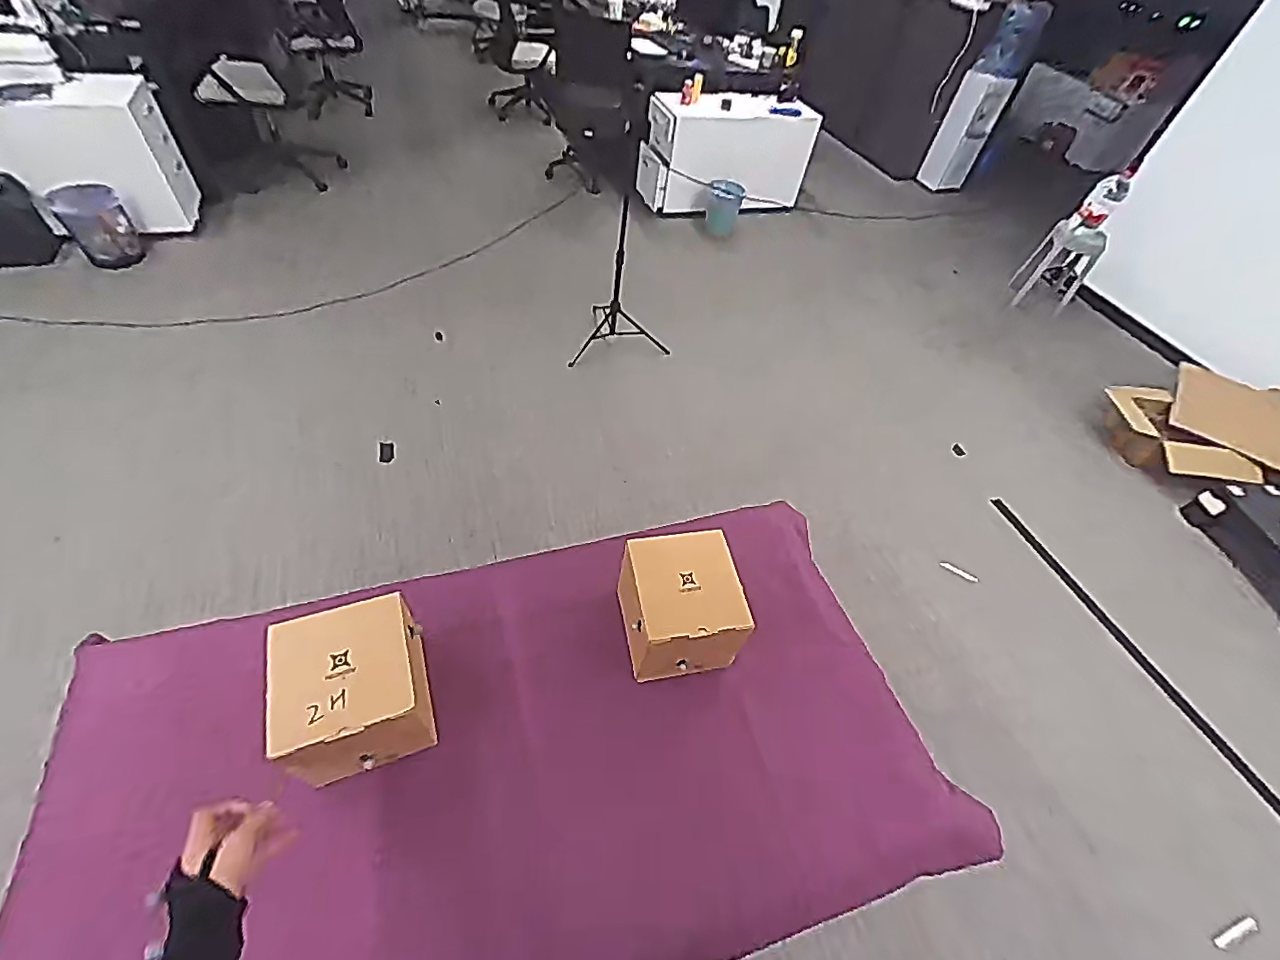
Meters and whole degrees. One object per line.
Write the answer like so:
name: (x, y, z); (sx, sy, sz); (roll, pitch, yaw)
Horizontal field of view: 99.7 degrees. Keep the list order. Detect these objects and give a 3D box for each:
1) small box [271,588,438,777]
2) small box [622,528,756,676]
small box: (-0.391, 0.285, 0.760); (0.168, 0.176, 0.179); (-13, 54, -18)
small box: (0.069, 0.203, 0.900); (0.168, 0.176, 0.179); (-5, 53, -12)
